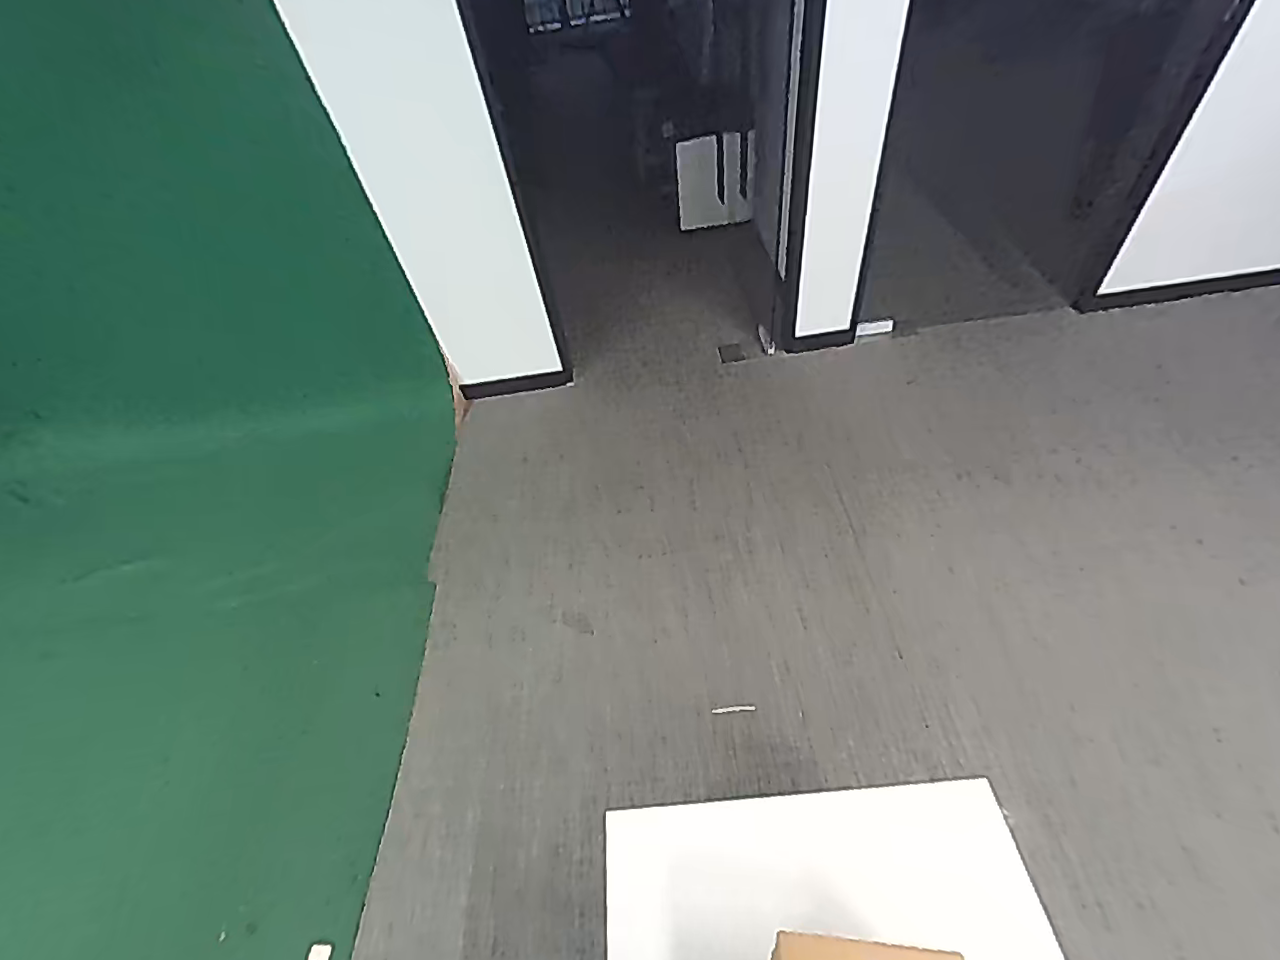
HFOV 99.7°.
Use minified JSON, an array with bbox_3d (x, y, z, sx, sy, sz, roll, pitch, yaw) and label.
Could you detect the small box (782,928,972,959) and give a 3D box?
[{"bbox_3d":[0.205,0.529,0.464,0.168,0.176,0.179,1,37,8],"label":"small box"}]
